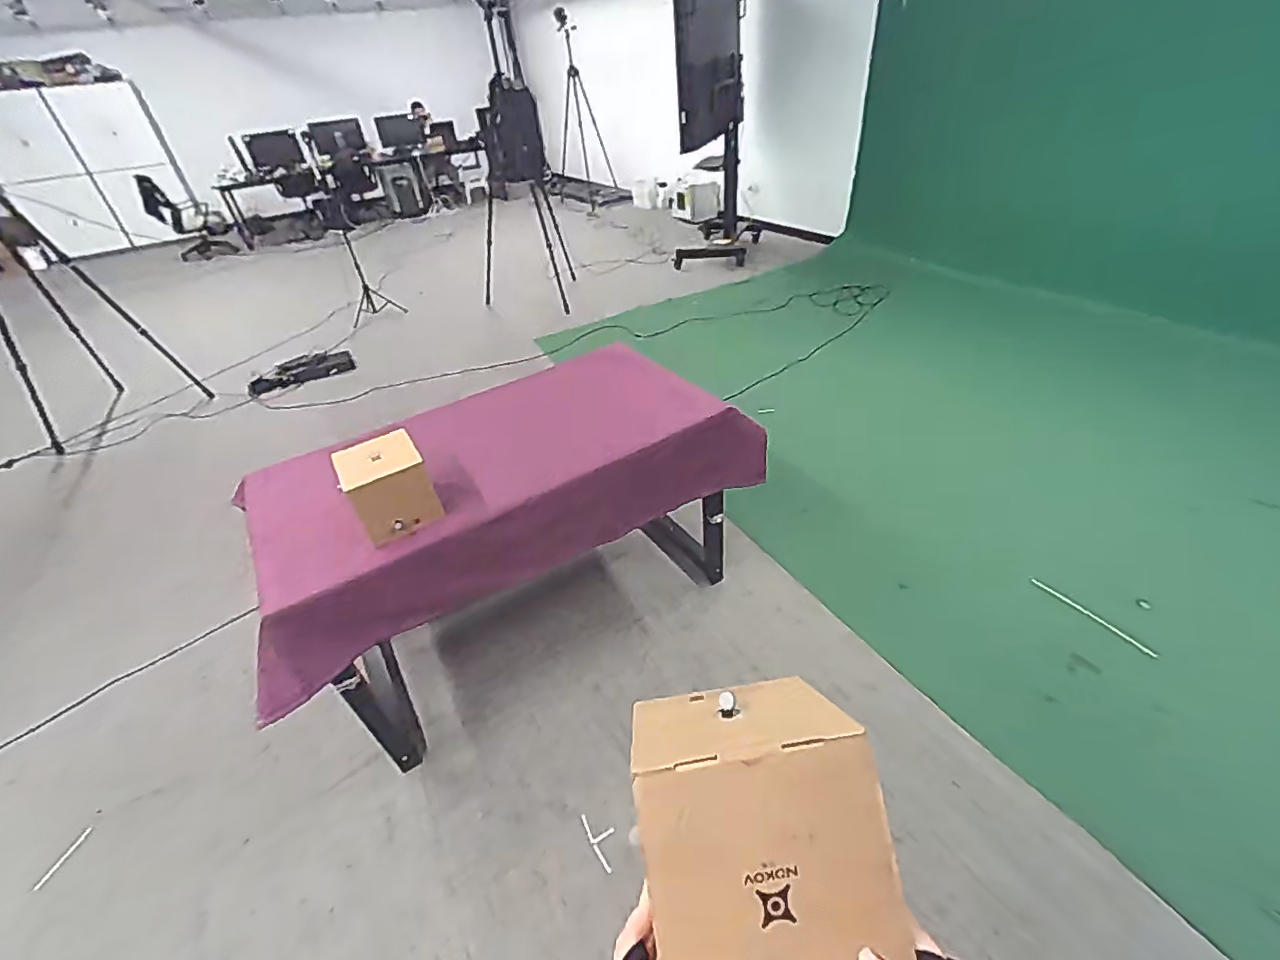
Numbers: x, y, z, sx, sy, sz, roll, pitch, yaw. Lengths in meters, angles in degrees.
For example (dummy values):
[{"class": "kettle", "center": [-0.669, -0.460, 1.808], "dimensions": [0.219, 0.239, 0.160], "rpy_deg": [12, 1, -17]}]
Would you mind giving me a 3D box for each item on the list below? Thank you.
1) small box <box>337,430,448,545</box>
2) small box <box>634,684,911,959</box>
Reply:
[{"class": "small box", "center": [-0.562, 0.016, 1.236], "dimensions": [0.168, 0.176, 0.179], "rpy_deg": [-26, 42, -22]}, {"class": "small box", "center": [0.087, 0.275, 0.436], "dimensions": [0.168, 0.176, 0.179], "rpy_deg": [-9, 82, 0]}]
